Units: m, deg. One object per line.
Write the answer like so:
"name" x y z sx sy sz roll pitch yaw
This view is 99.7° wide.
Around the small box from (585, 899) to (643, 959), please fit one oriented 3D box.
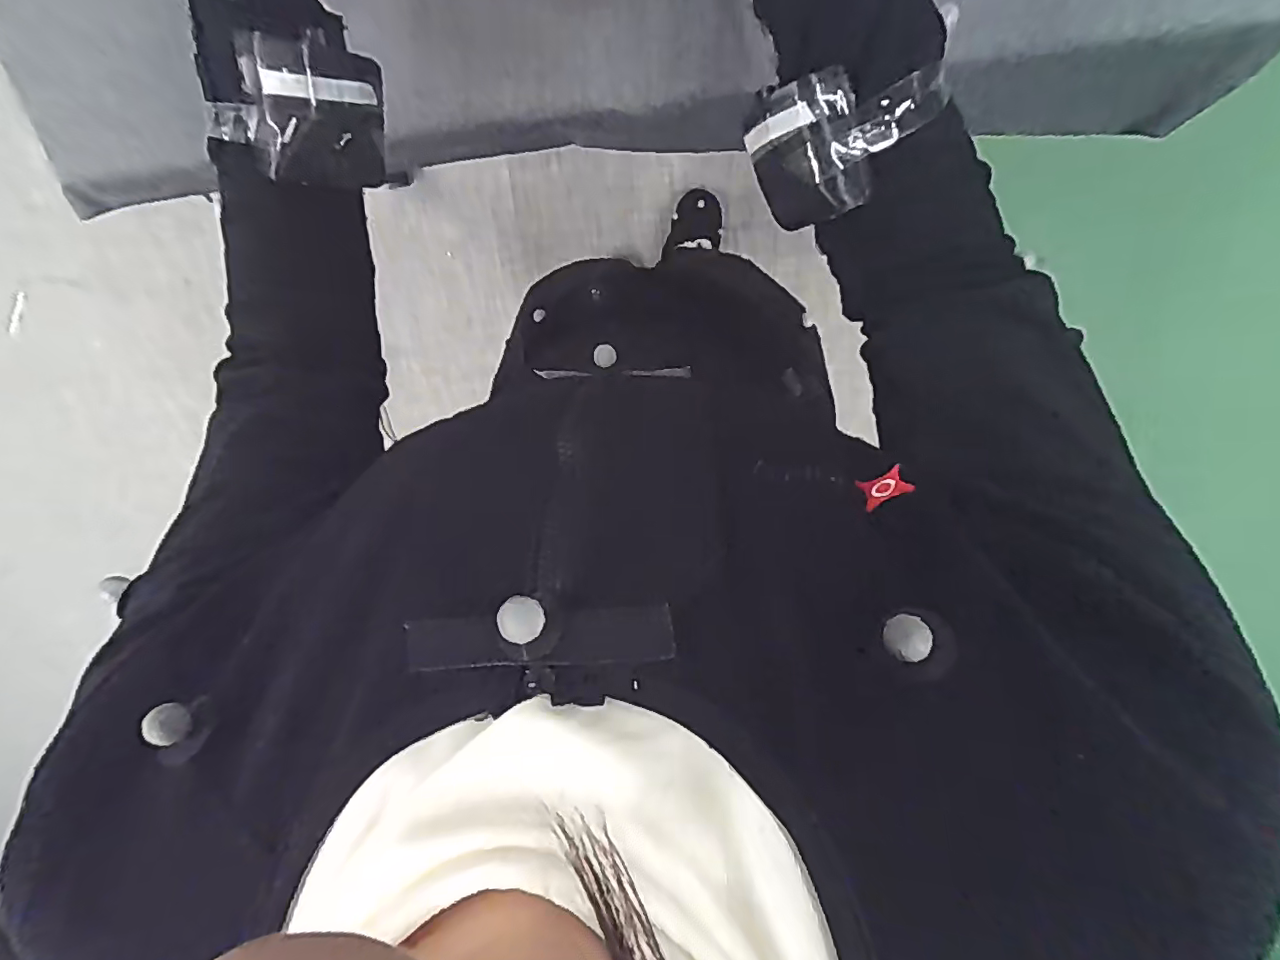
"small box" -0.084 1.587 1.872 0.179 0.176 0.168 -6 113 6
